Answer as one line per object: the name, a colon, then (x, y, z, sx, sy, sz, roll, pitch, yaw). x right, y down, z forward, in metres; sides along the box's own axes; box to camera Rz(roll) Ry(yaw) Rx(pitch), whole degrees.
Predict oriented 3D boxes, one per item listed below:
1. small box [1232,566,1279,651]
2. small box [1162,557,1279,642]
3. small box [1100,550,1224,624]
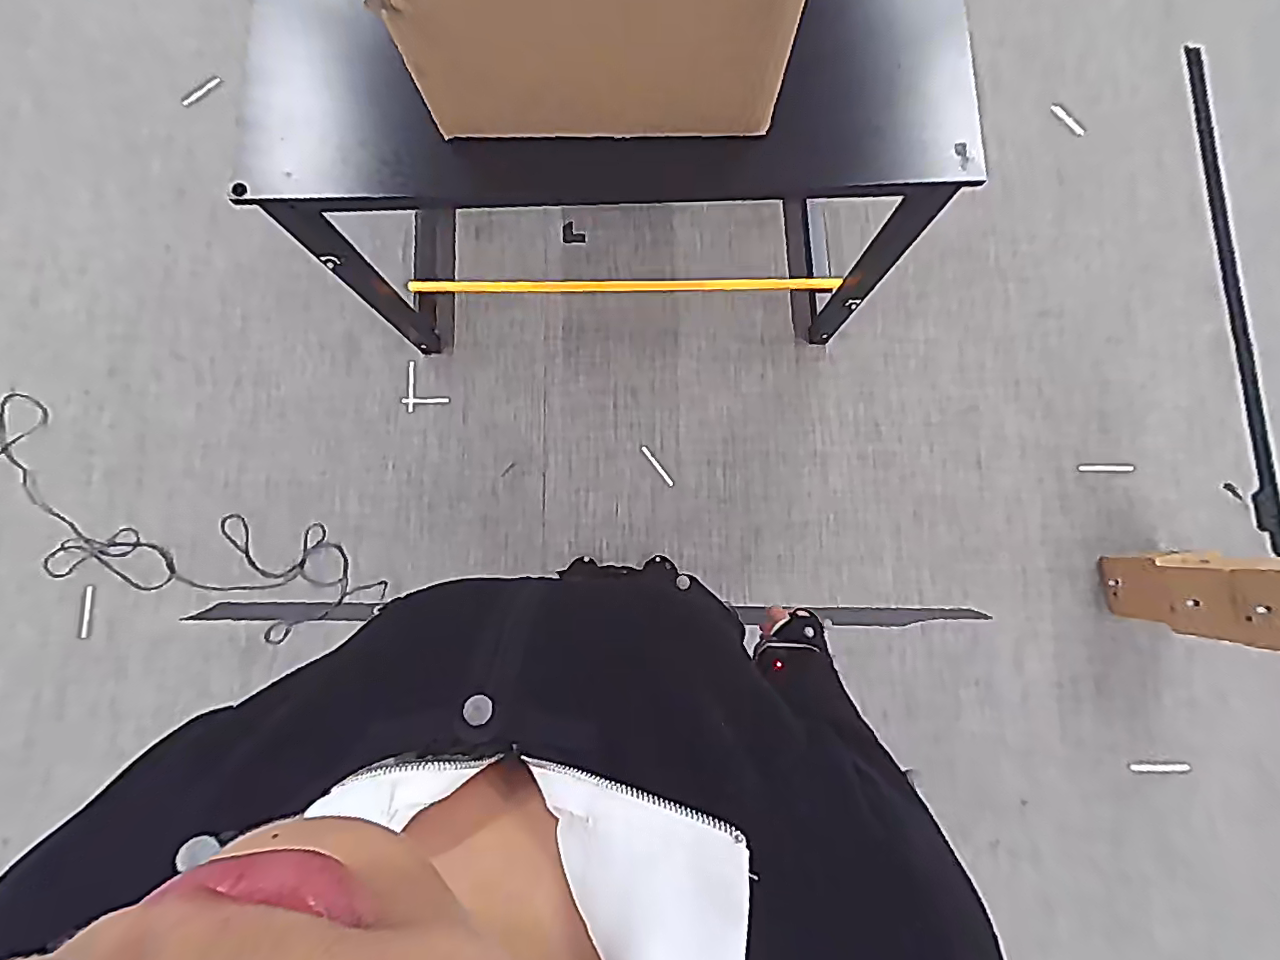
small box: (1.363, 0.256, 1.075, 0.179, 0.176, 0.168, -3, 82, 0)
small box: (1.360, 0.269, 1.240, 0.179, 0.176, 0.168, -8, 82, 0)
small box: (1.363, 0.272, 1.405, 0.179, 0.176, 0.168, -7, 82, 1)
